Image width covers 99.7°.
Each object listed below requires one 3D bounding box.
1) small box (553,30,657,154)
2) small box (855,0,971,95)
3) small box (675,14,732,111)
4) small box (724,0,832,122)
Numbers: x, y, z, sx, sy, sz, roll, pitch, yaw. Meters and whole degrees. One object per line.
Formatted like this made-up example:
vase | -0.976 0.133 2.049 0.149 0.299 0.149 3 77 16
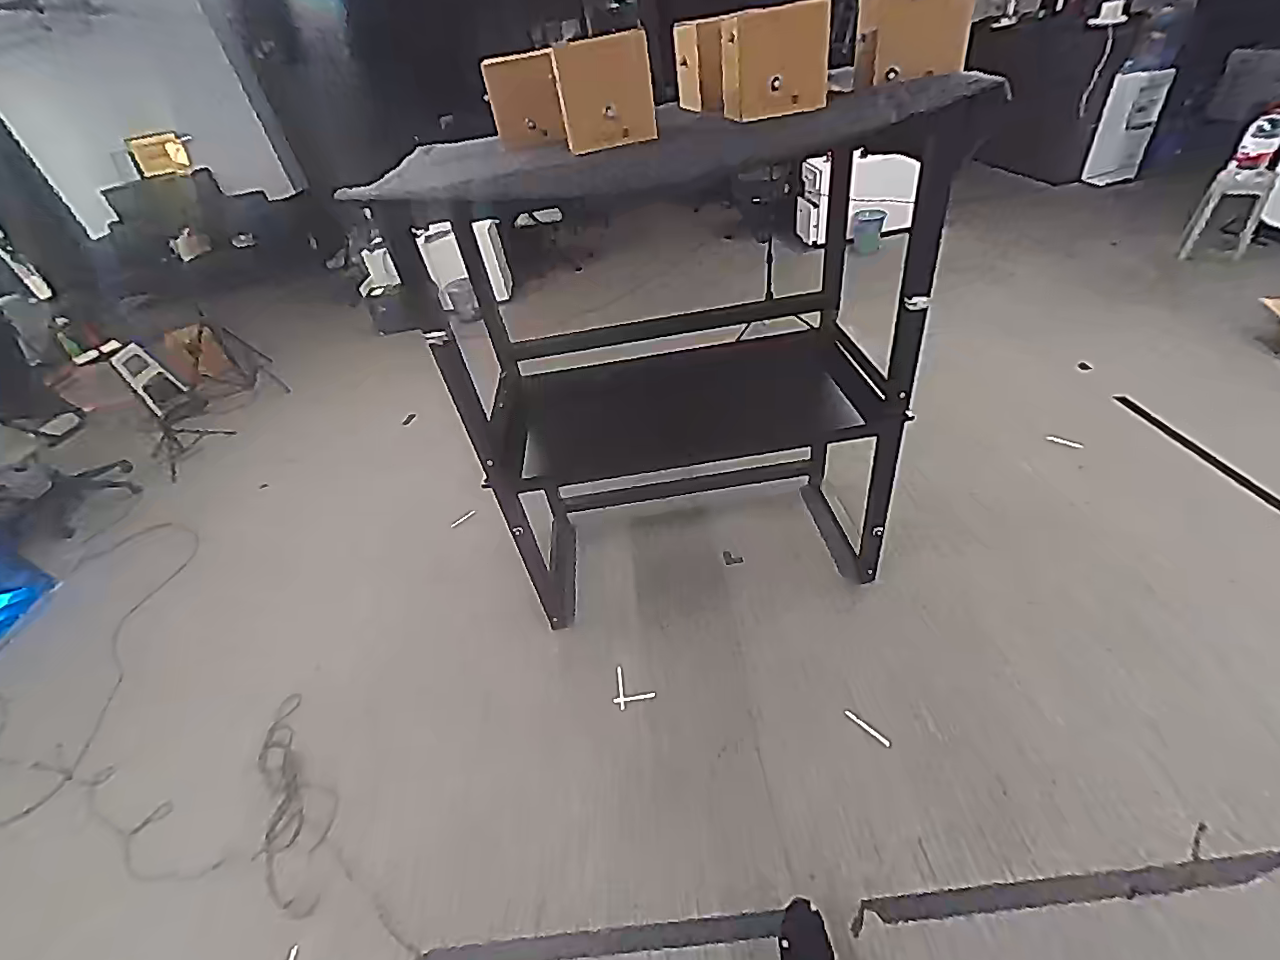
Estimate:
small box | -0.069 -0.747 1.050 0.168 0.176 0.179 -13 37 -2
small box | 0.530 -0.874 1.063 0.168 0.176 0.179 -4 38 9
small box | 0.190 -0.994 1.288 0.168 0.176 0.179 -16 40 -5
small box | 0.260 -0.814 1.058 0.168 0.176 0.179 -9 38 2
